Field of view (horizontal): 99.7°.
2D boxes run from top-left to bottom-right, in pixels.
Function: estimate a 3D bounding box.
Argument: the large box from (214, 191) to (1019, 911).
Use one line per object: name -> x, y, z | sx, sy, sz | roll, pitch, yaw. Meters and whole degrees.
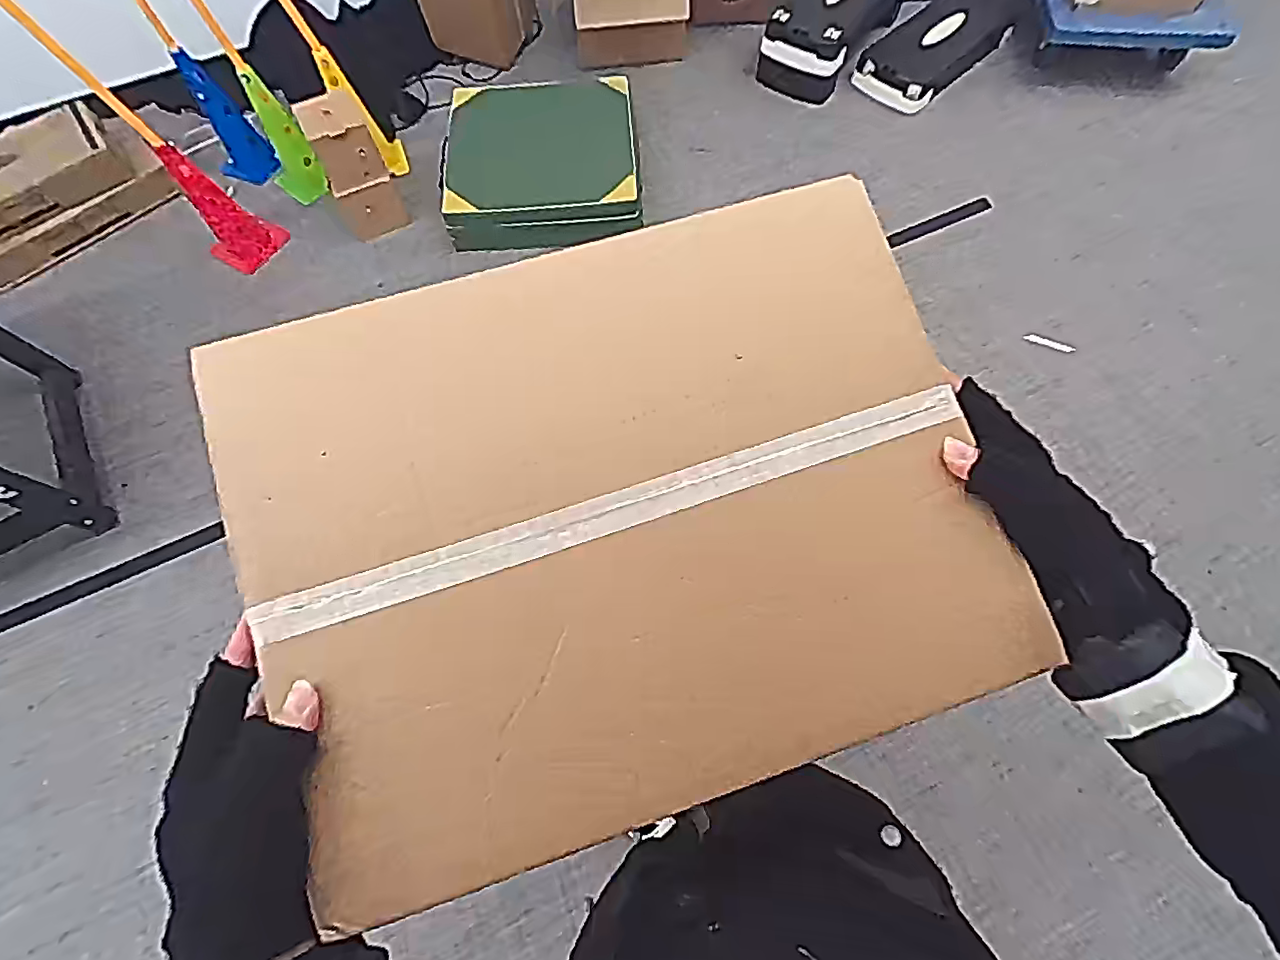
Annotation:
large box -> -0.019, 0.036, 0.457 | 0.408, 0.320, 0.320 | -18, 81, -6
